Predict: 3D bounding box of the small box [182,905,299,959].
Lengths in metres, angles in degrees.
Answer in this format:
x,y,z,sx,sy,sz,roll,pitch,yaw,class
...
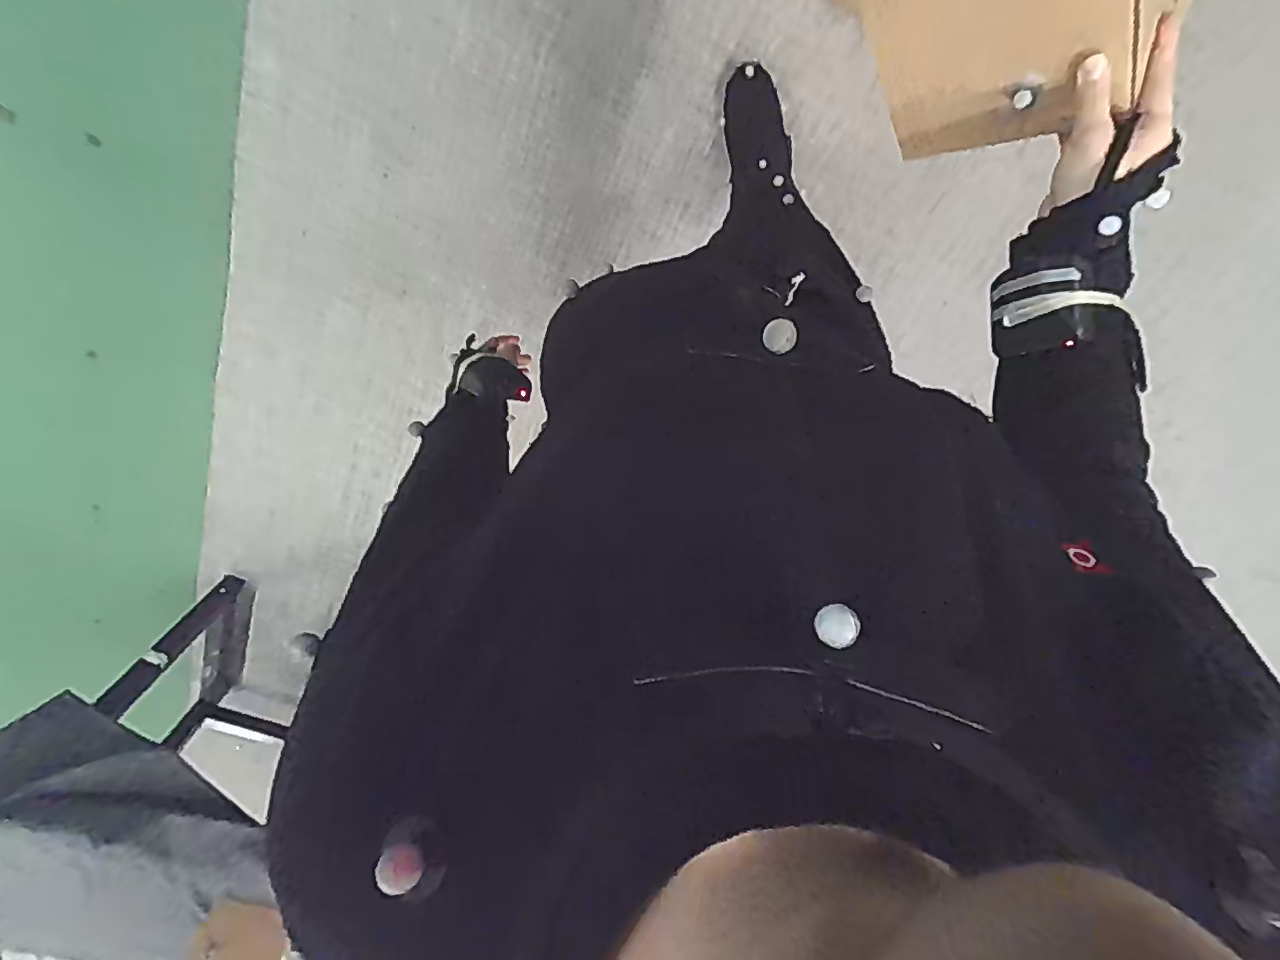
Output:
x,y,z,sx,sy,sz,roll,pitch,yaw,class
-0.850,1.018,1.117,0.179,0.176,0.168,23,119,-12,small box
